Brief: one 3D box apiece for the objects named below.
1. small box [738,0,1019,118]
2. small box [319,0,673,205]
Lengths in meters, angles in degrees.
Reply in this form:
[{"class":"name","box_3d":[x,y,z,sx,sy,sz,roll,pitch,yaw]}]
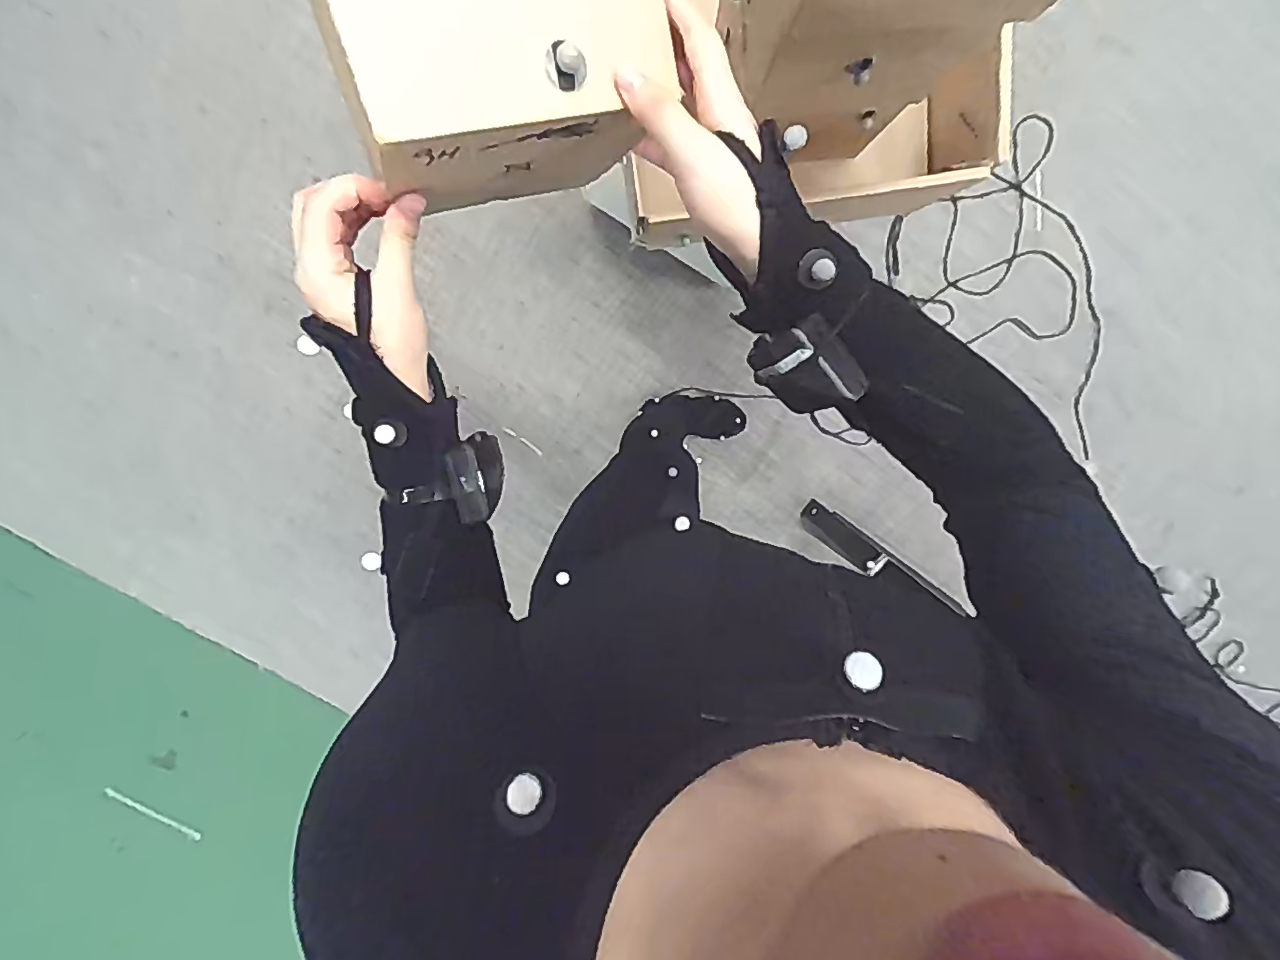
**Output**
[{"class":"small box","box_3d":[0.181,-0.430,0.445,0.179,0.176,0.168,-6,101,3]},{"class":"small box","box_3d":[-0.101,-0.289,0.332,0.168,0.179,0.176,-20,110,-18]}]
